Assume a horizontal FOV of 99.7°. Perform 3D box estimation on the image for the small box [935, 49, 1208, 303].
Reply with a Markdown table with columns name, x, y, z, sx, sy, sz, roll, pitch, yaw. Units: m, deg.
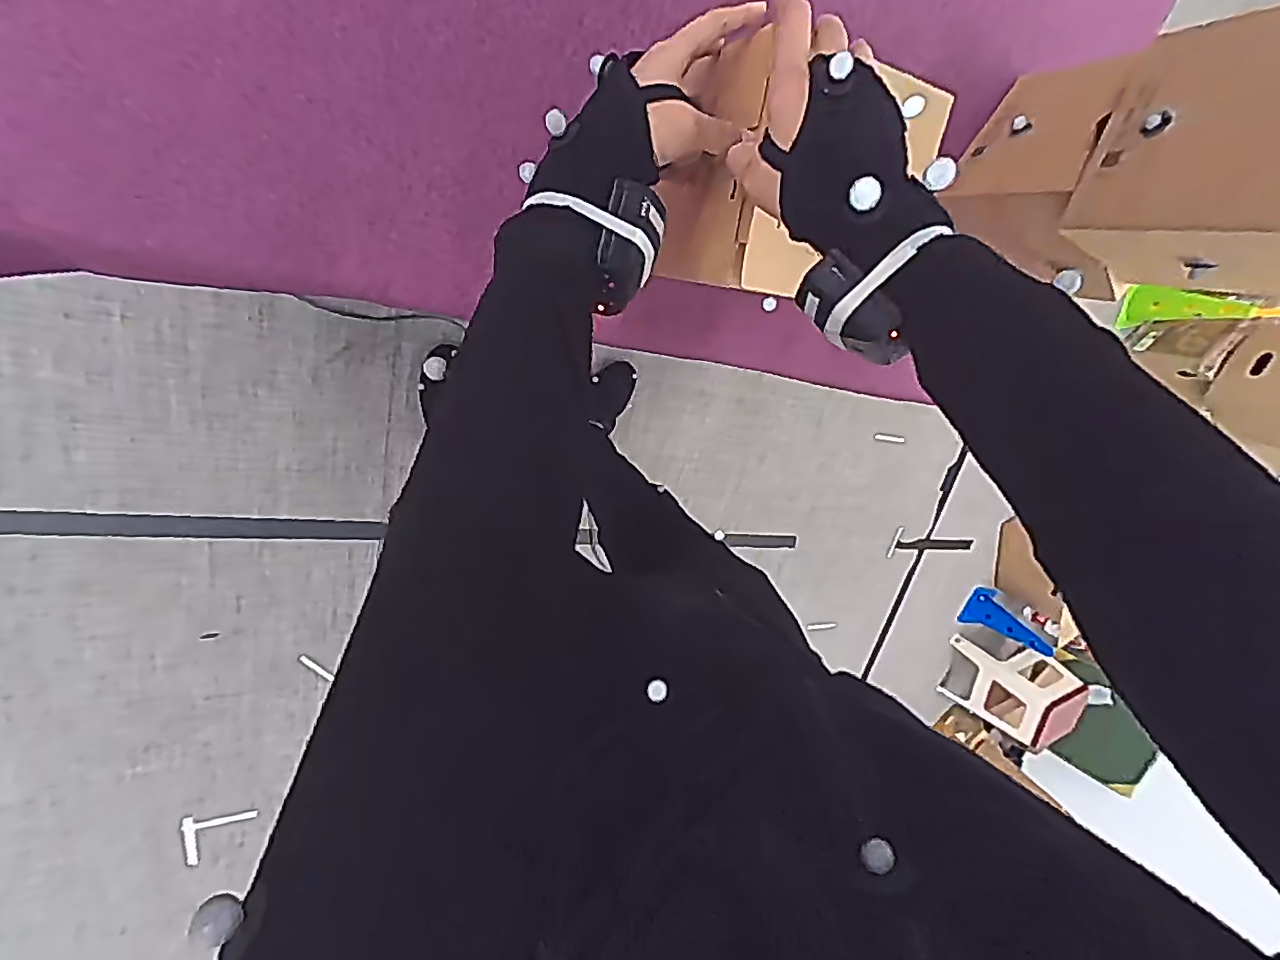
| name | x | y | z | sx | sy | sz | roll | pitch | yaw |
| --- | --- | --- | --- | --- | --- | --- | --- | --- | --- |
| small box | 0.487 | -0.334 | 0.623 | 0.179 | 0.176 | 0.168 | 32 | 96 | -34 |
